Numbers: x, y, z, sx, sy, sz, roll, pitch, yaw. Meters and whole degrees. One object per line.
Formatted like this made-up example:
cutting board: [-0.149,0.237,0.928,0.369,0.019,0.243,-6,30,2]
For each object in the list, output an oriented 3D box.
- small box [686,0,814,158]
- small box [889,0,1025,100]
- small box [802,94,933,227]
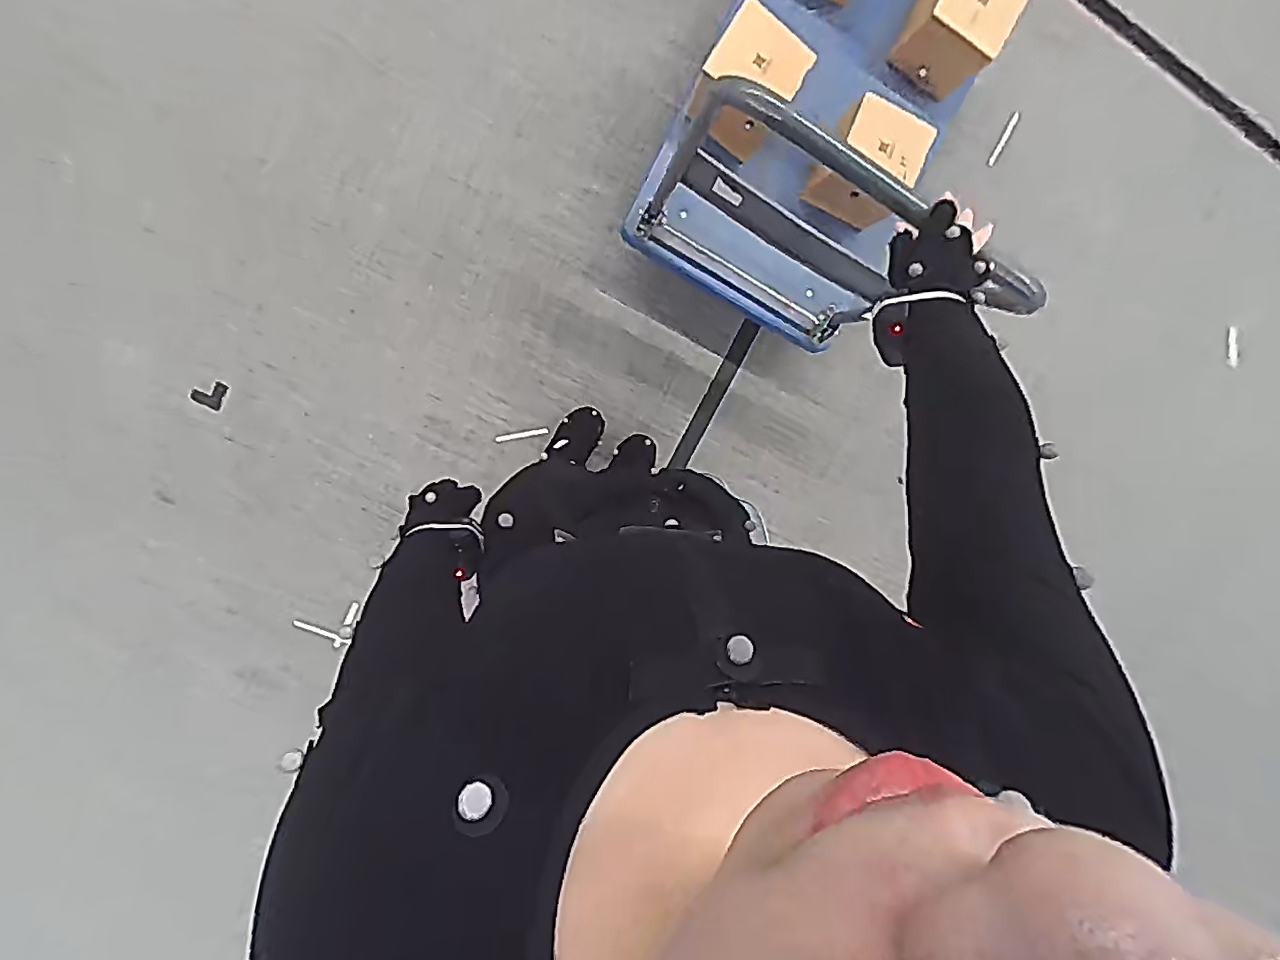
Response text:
small box: [0.219,-0.822,1.132,0.179,0.176,0.168,33,93,-13]
small box: [0.680,-0.983,1.169,0.168,0.176,0.179,27,96,-11]
small box: [0.489,-0.688,1.191,0.179,0.176,0.168,21,96,-11]
